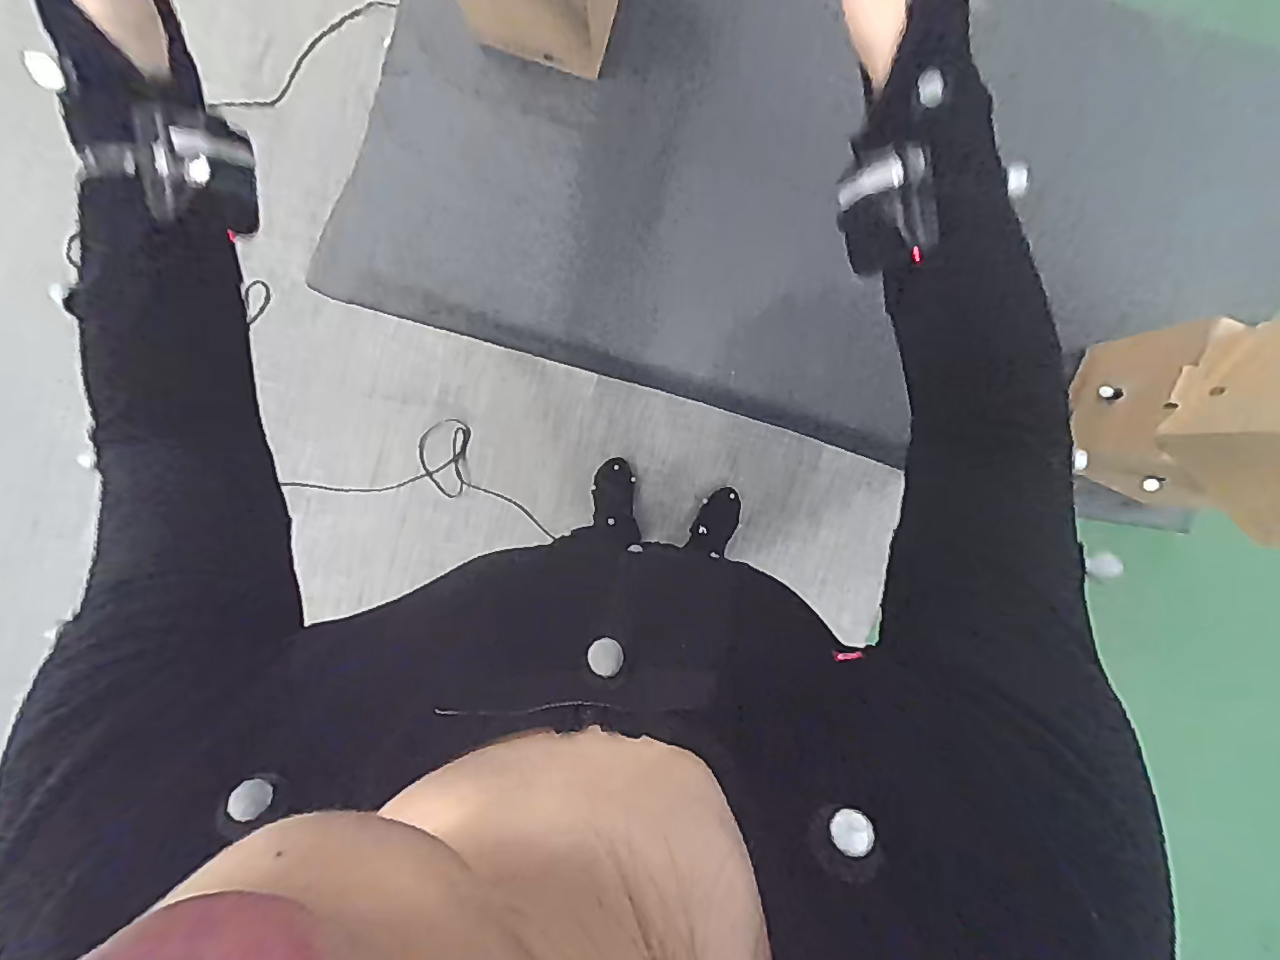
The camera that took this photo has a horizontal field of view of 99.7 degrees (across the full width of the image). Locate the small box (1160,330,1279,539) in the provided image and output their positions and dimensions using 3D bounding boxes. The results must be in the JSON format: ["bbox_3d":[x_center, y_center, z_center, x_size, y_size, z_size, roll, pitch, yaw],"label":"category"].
[{"bbox_3d":[0.656,-0.043,0.495,0.179,0.176,0.168,44,91,-4],"label":"small box"}]

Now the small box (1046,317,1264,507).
[{"bbox_3d":[0.654,-0.069,0.657,0.179,0.176,0.168,23,92,-2],"label":"small box"}]
